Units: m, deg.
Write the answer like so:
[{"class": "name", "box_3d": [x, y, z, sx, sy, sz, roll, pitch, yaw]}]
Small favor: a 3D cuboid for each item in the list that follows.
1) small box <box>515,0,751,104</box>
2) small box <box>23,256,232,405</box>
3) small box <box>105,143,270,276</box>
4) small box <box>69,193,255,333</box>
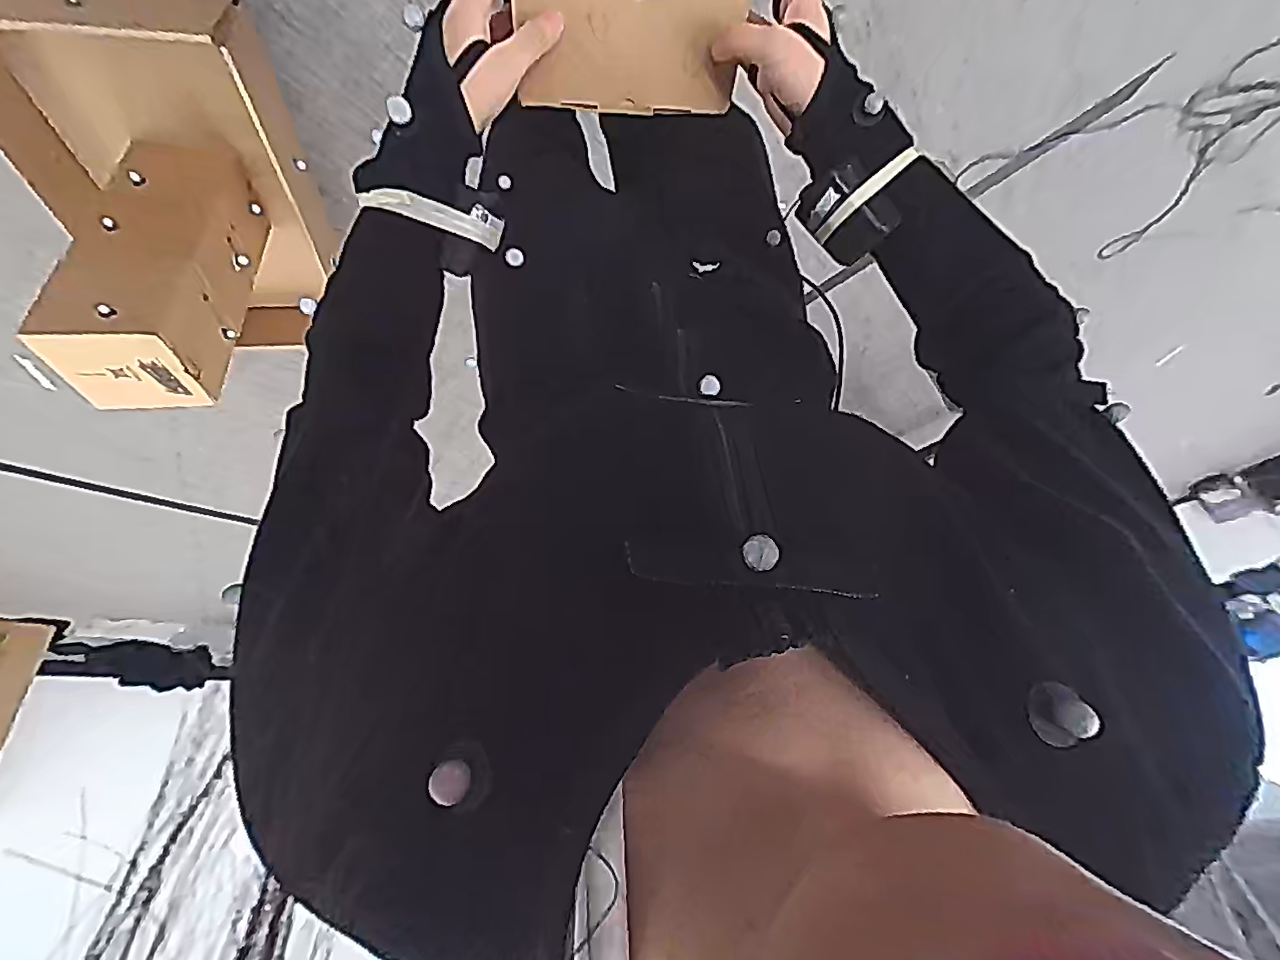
[{"class": "small box", "box_3d": [-0.009, -0.411, 0.390, 0.168, 0.176, 0.179, -3, 148, -9]}, {"class": "small box", "box_3d": [-0.795, -0.239, 0.869, 0.179, 0.176, 0.168, -4, 149, -11]}, {"class": "small box", "box_3d": [-0.846, -0.516, 1.035, 0.179, 0.176, 0.168, -4, 149, -14]}, {"class": "small box", "box_3d": [-0.819, -0.379, 0.951, 0.179, 0.176, 0.168, -5, 150, -13]}]
